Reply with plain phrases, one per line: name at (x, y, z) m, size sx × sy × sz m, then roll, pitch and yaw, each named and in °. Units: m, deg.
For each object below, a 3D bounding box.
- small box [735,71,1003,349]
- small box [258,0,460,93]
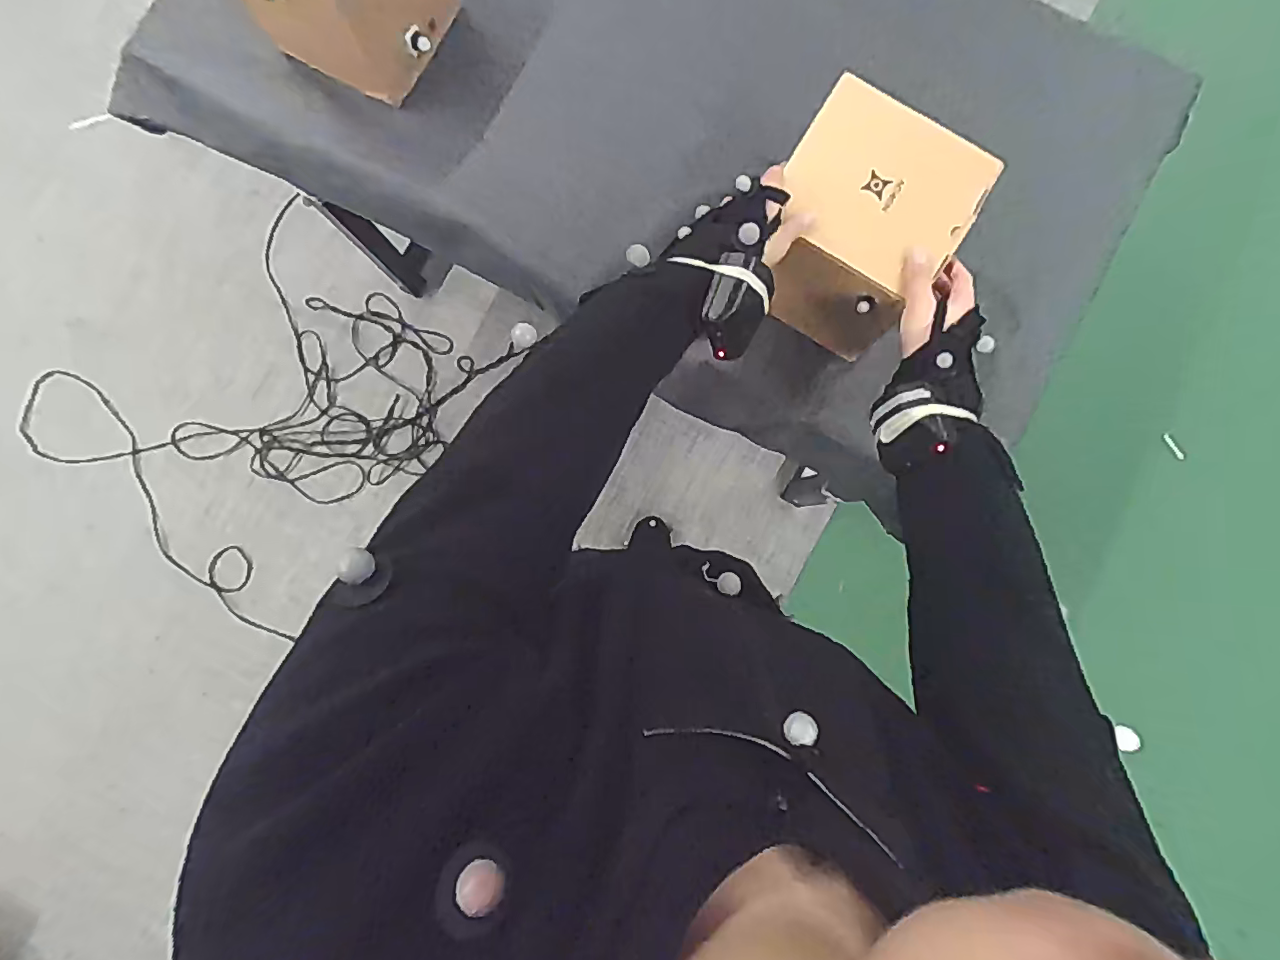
small box at (0.222, -0.267, 0.579) m, size 0.179 × 0.176 × 0.168 m, roll 32°, pitch 86°, yaw 2°
small box at (-0.334, -0.585, 0.598) m, size 0.179 × 0.176 × 0.168 m, roll 28°, pitch 88°, yaw 1°
